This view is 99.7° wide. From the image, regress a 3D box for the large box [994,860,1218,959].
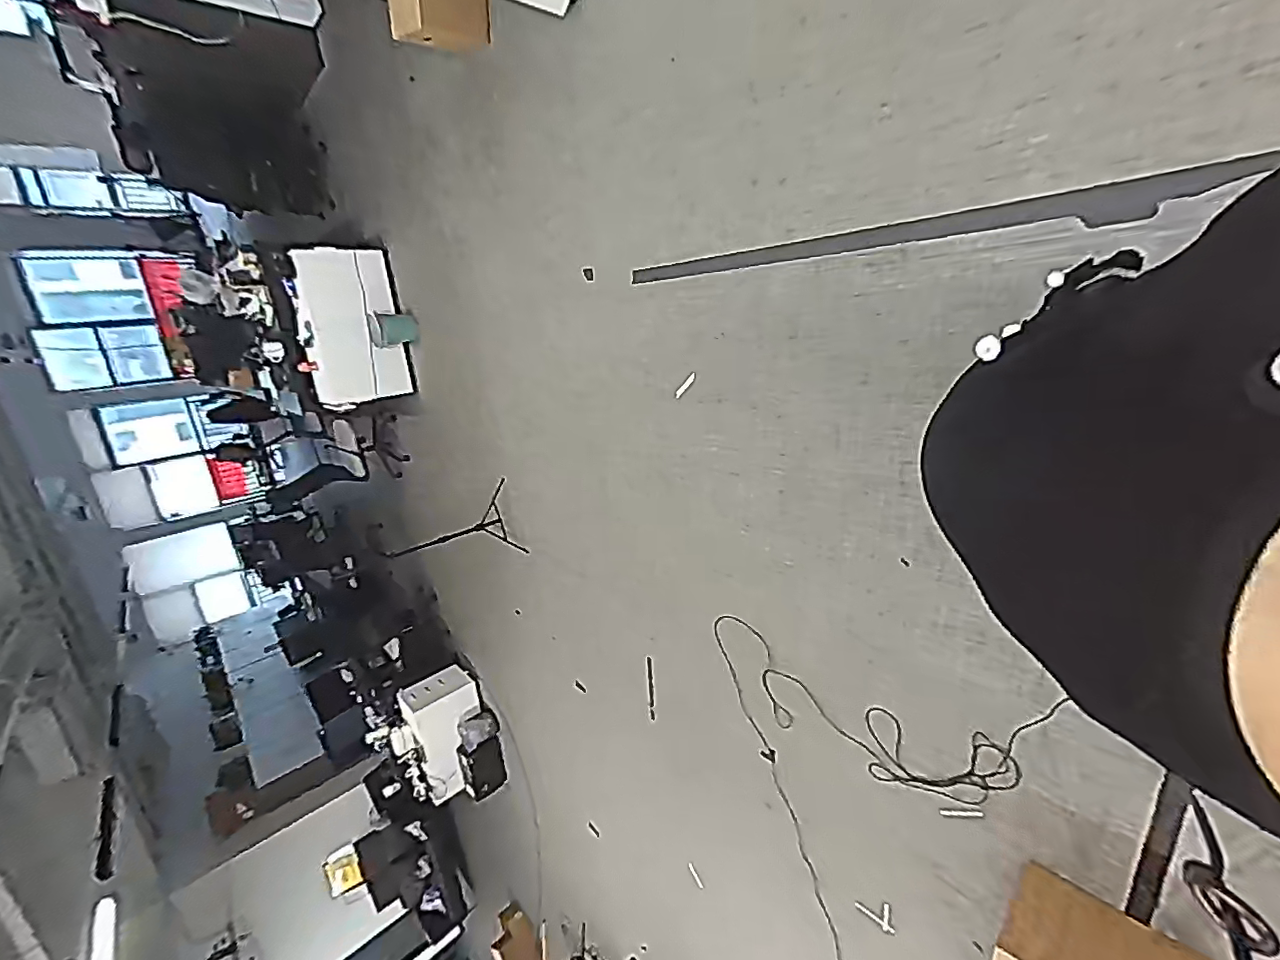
[{"bbox_3d":[1.169,1.300,1.369,0.408,0.320,0.320,13,115,47],"label":"large box"}]
